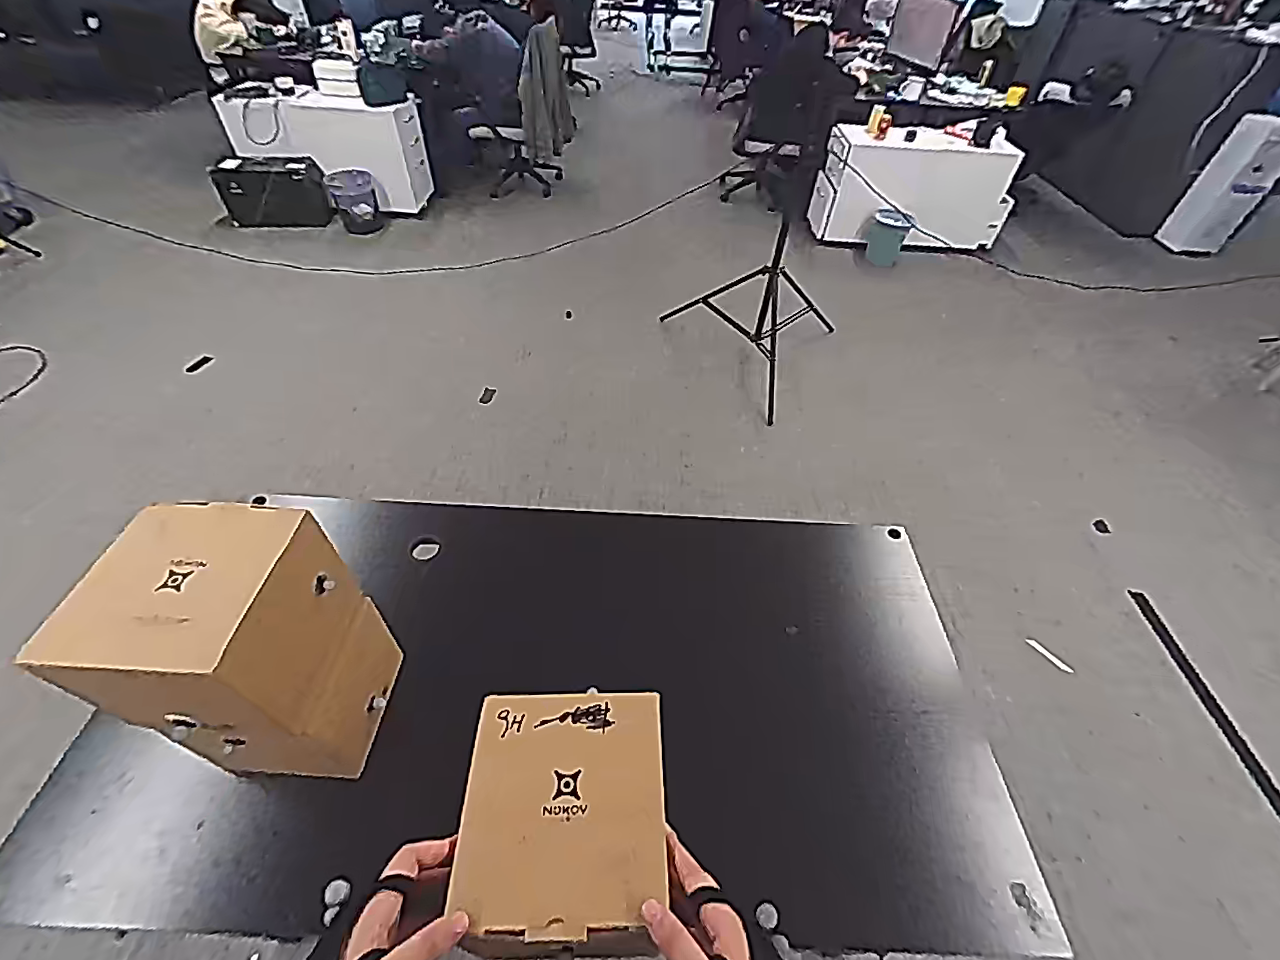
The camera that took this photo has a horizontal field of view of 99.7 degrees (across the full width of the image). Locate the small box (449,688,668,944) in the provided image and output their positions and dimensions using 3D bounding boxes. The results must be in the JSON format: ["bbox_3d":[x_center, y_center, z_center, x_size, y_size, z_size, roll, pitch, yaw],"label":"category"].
[{"bbox_3d":[-0.060,0.317,0.508,0.168,0.176,0.179,-1,45,-2],"label":"small box"}]

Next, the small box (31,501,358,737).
[{"bbox_3d":[-0.422,0.144,0.559,0.168,0.176,0.179,2,48,0],"label":"small box"}]

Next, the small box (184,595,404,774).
[{"bbox_3d":[-0.427,0.254,0.679,0.179,0.176,0.168,5,47,-1],"label":"small box"}]
